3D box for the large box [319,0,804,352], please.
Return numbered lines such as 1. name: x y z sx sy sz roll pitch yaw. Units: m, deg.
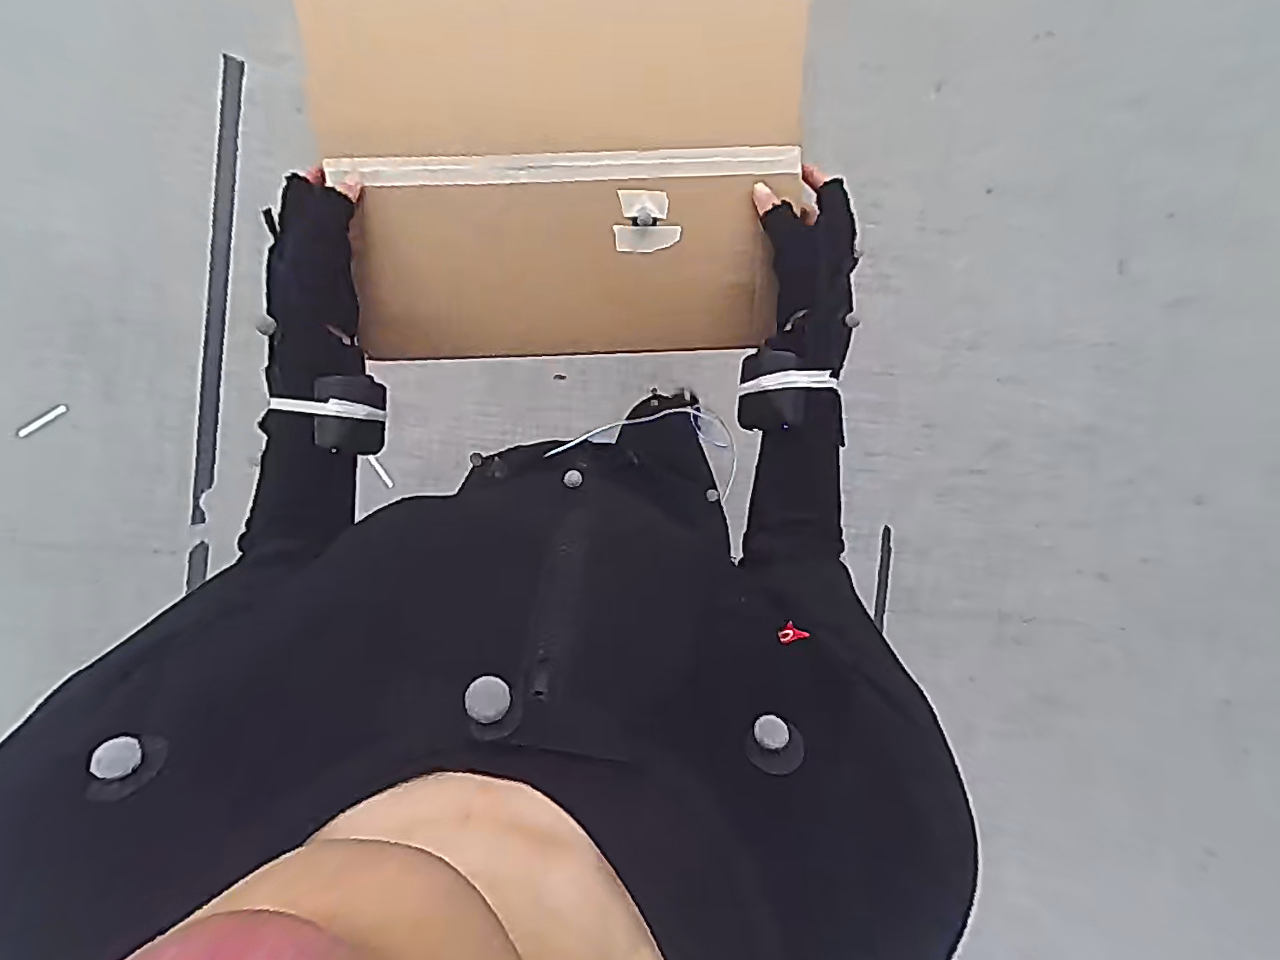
1. large box: -0.066 -0.326 0.622 0.408 0.320 0.320 -2 109 -3
